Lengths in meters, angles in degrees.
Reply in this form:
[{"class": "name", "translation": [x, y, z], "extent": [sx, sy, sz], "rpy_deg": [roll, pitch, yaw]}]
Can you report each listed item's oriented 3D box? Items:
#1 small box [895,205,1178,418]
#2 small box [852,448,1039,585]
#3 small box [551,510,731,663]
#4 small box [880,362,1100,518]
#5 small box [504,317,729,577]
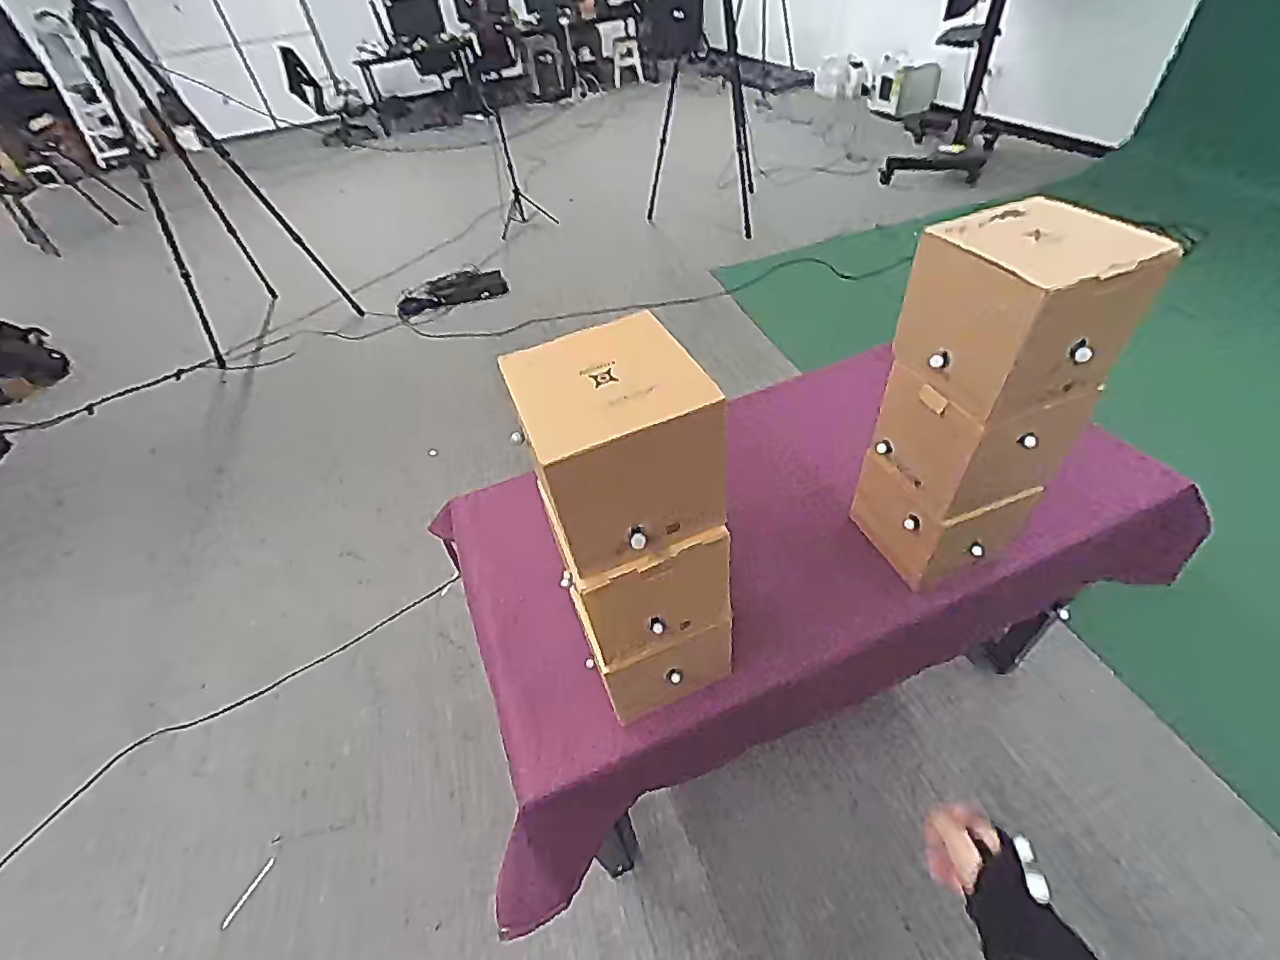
[{"class": "small box", "translation": [0.437, -0.191, 0.635], "extent": [0.168, 0.176, 0.179], "rpy_deg": [-17, 47, -9]}, {"class": "small box", "translation": [0.468, 0.046, 0.861], "extent": [0.168, 0.176, 0.179], "rpy_deg": [-17, 46, -10]}, {"class": "small box", "translation": [-0.004, 0.087, 0.659], "extent": [0.168, 0.176, 0.179], "rpy_deg": [-20, 47, -11]}, {"class": "small box", "translation": [0.458, -0.073, 0.747], "extent": [0.179, 0.176, 0.168], "rpy_deg": [-17, 46, -9]}, {"class": "small box", "translation": [-0.023, -0.034, 0.551], "extent": [0.168, 0.176, 0.179], "rpy_deg": [-20, 47, -10]}]
